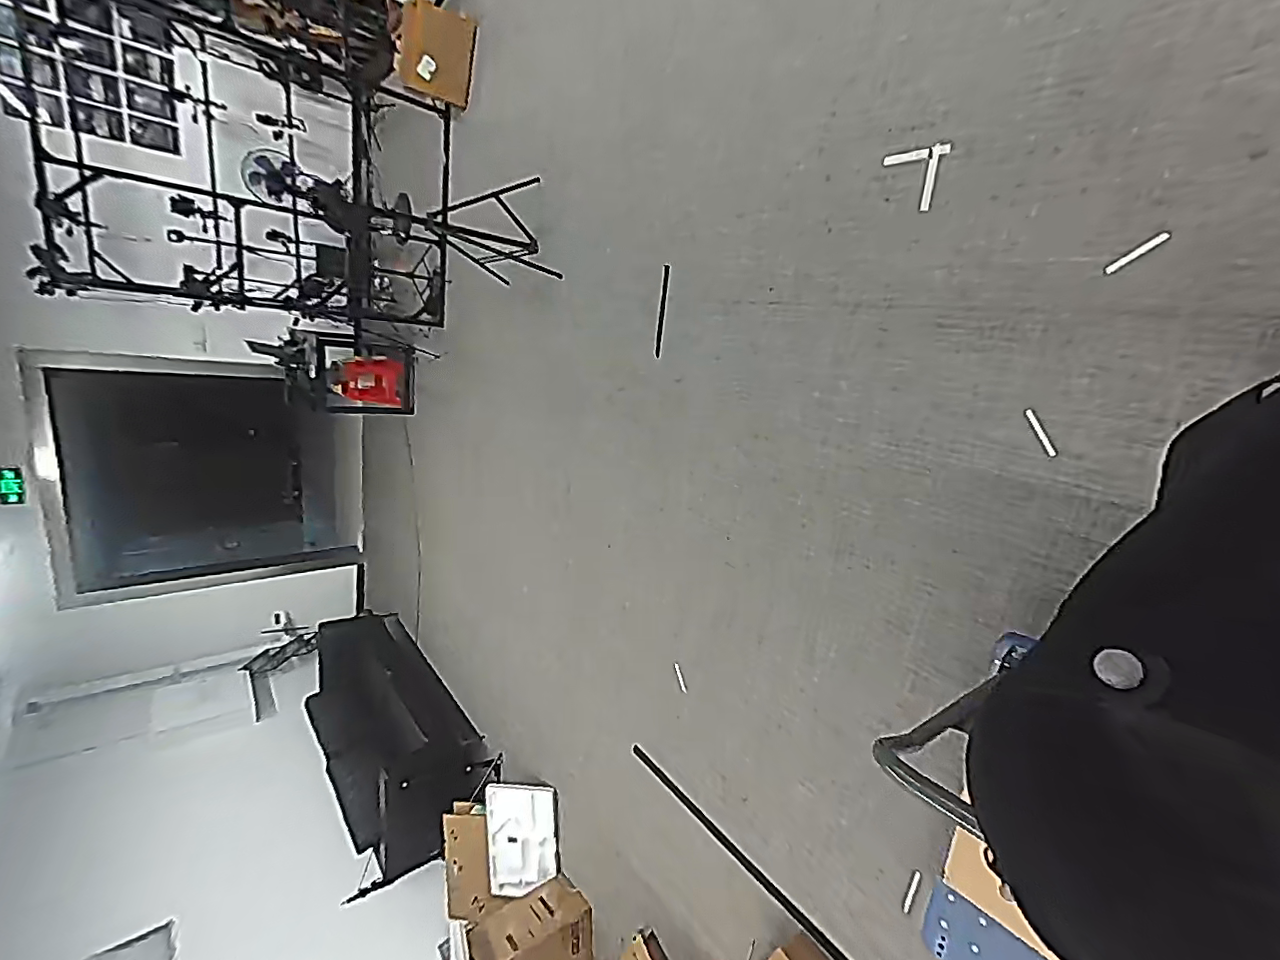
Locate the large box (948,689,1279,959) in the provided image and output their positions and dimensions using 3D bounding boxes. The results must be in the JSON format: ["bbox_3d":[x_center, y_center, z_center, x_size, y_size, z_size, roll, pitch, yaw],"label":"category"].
[{"bbox_3d":[0.842,0.640,0.948,0.408,0.320,0.320,20,108,49],"label":"large box"}]
